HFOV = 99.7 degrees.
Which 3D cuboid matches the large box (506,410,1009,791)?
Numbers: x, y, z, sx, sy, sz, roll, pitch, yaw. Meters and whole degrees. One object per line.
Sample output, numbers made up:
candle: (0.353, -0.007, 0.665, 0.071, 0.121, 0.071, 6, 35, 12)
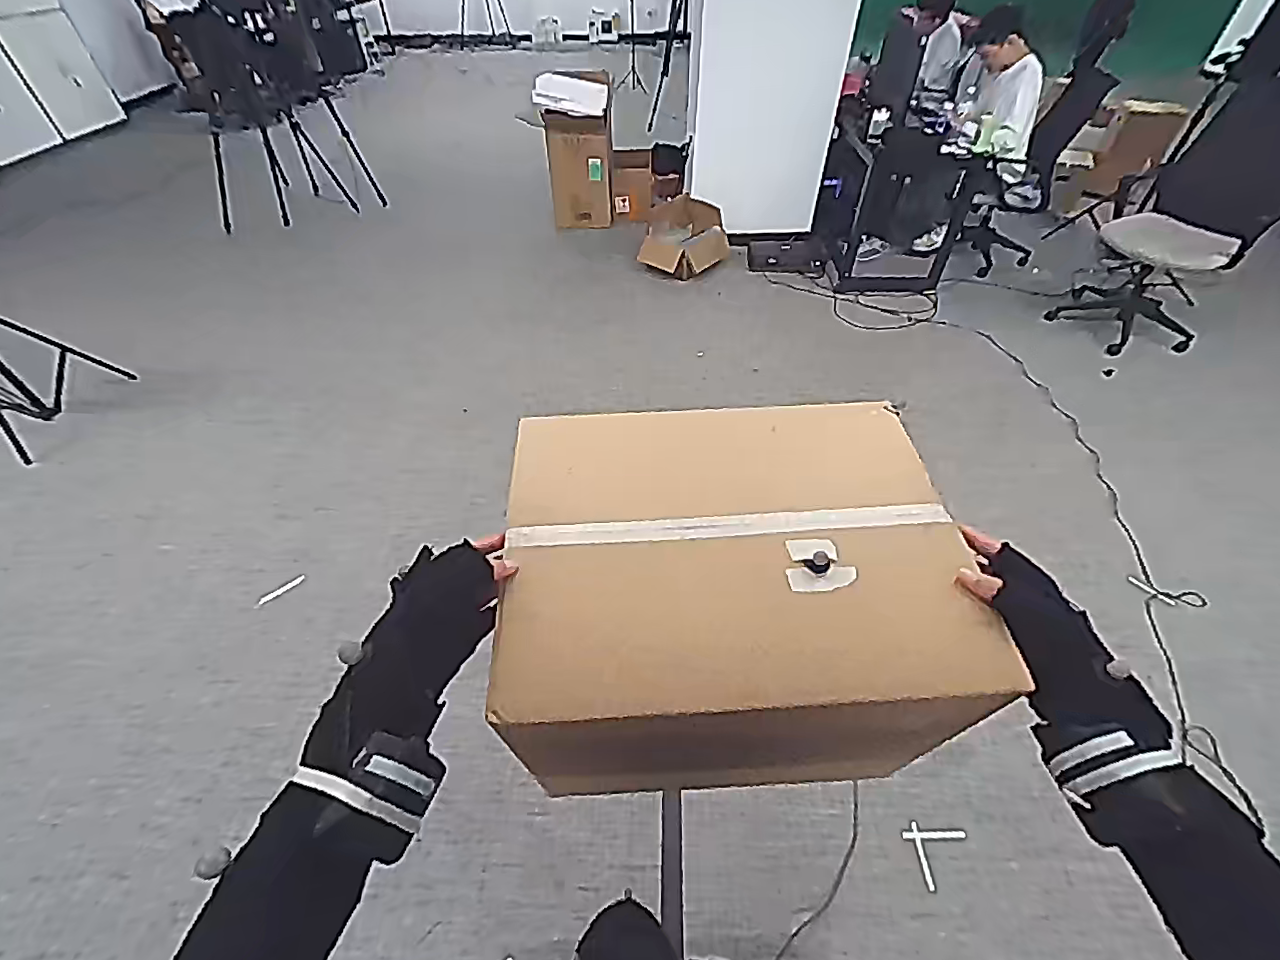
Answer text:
large box: (0.083, 0.143, 0.623, 0.408, 0.320, 0.320, -3, 52, -2)
